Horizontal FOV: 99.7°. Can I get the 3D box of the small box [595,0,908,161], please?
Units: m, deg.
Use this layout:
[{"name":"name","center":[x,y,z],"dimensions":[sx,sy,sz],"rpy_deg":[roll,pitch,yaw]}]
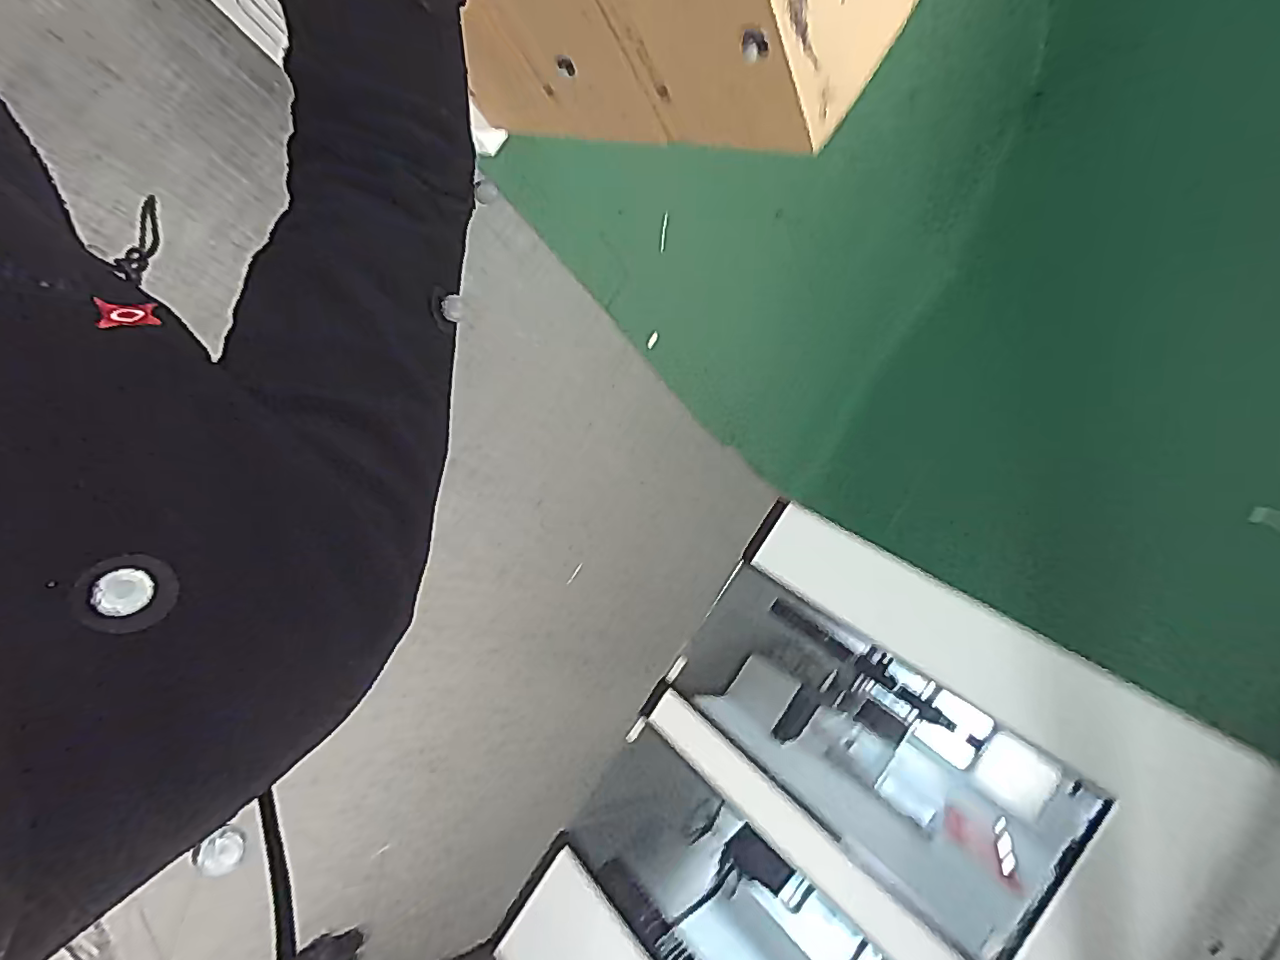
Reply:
[{"name":"small box","center":[0.095,-0.407,0.451],"dimensions":[0.179,0.176,0.168],"rpy_deg":[-58,144,-2]}]
